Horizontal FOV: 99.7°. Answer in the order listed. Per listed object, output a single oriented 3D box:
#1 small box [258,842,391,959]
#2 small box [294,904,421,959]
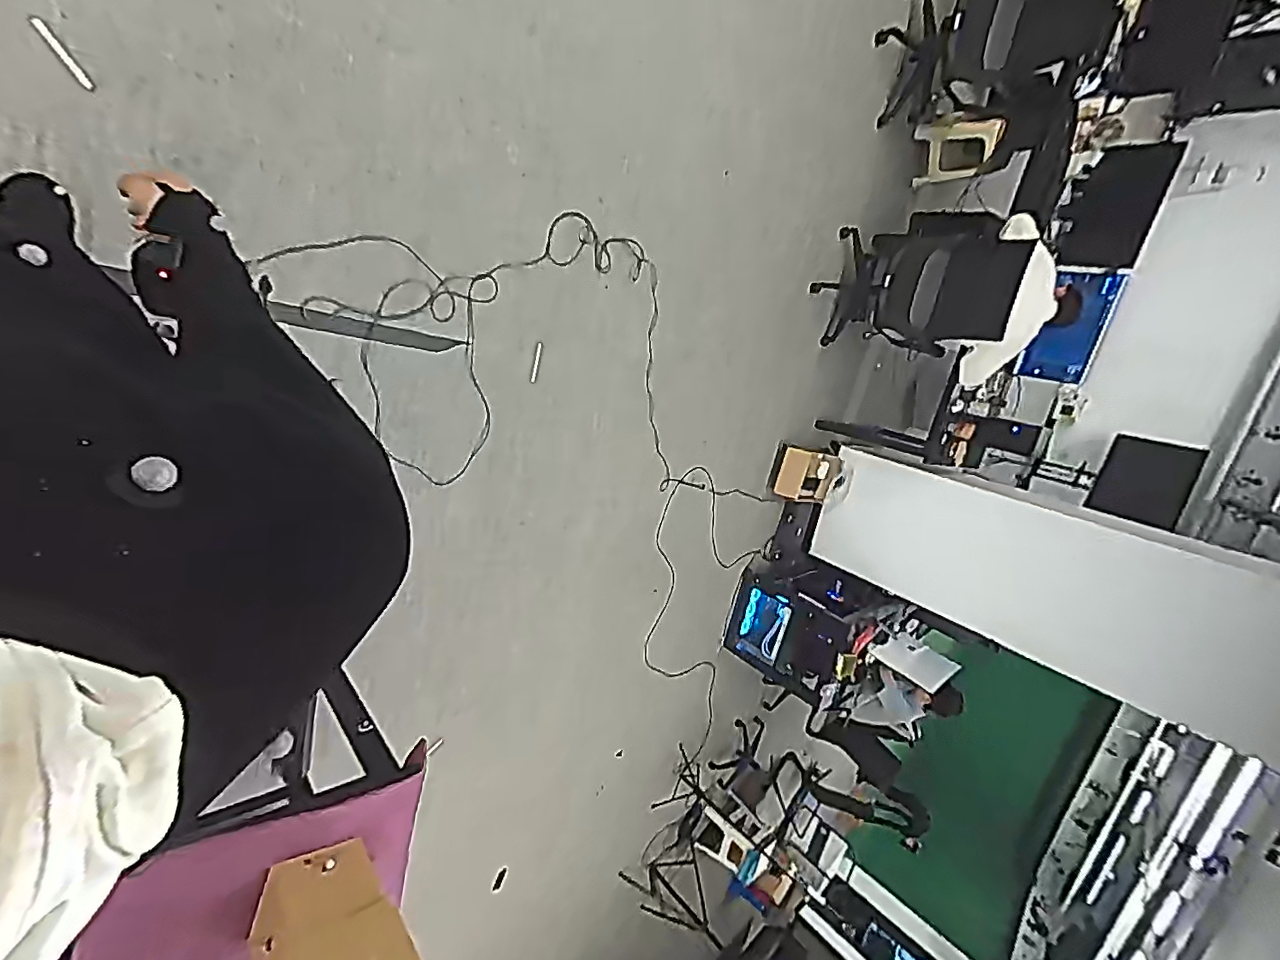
[{"bbox_3d":[-0.612,0.856,1.043,0.168,0.176,0.179,13,98,-48],"label":"small box"},{"bbox_3d":[-0.493,0.898,0.937,0.179,0.176,0.168,10,101,-48],"label":"small box"}]
